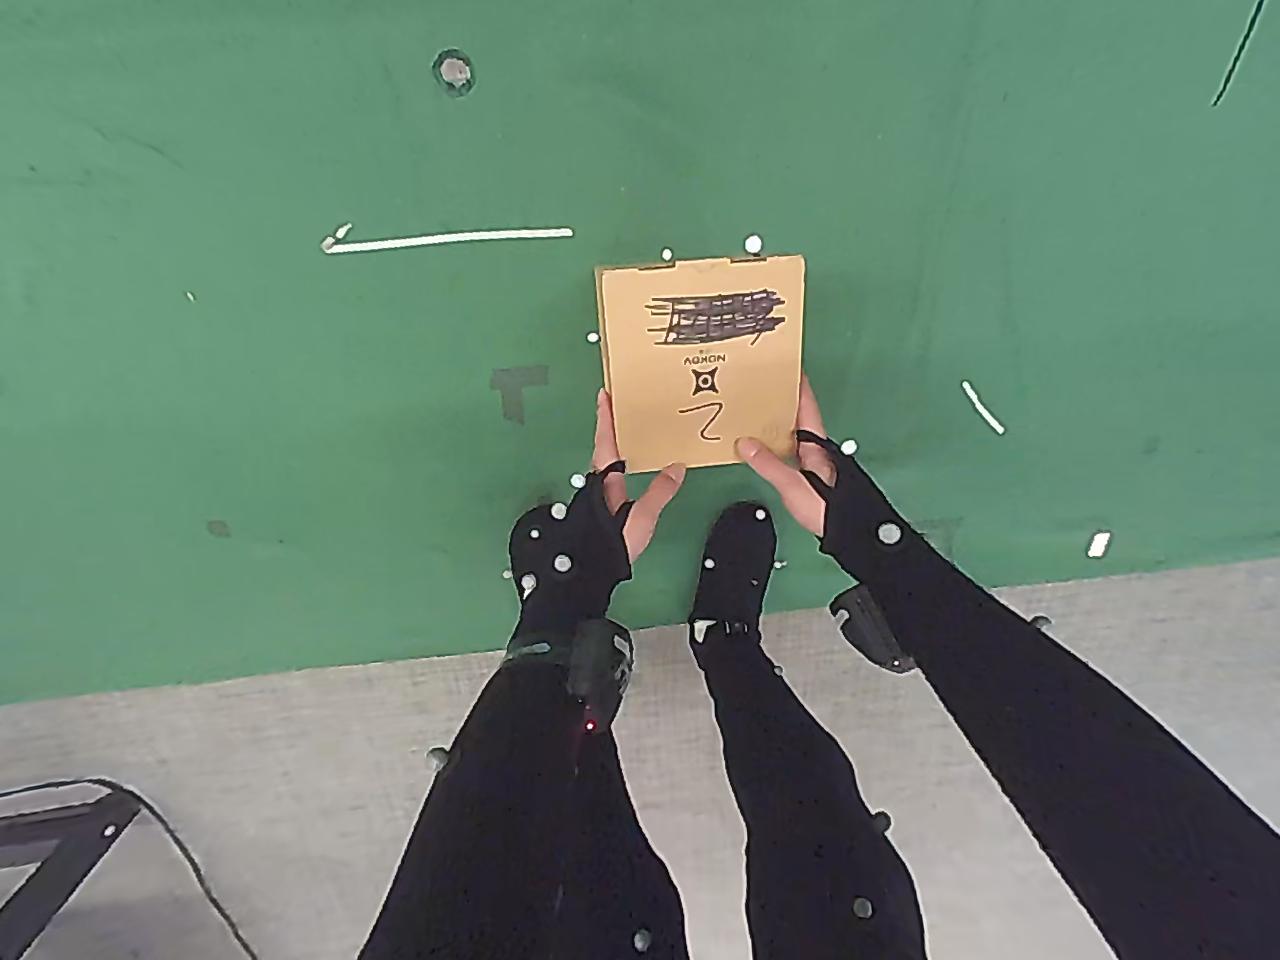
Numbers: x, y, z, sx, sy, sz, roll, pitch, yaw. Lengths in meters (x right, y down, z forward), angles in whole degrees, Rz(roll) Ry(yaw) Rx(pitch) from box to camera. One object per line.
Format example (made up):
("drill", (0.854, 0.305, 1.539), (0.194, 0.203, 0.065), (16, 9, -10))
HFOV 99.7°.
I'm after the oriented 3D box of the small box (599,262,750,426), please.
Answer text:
("small box", (0.036, -0.178, 0.686), (0.168, 0.176, 0.179), (-4, 112, -2))
